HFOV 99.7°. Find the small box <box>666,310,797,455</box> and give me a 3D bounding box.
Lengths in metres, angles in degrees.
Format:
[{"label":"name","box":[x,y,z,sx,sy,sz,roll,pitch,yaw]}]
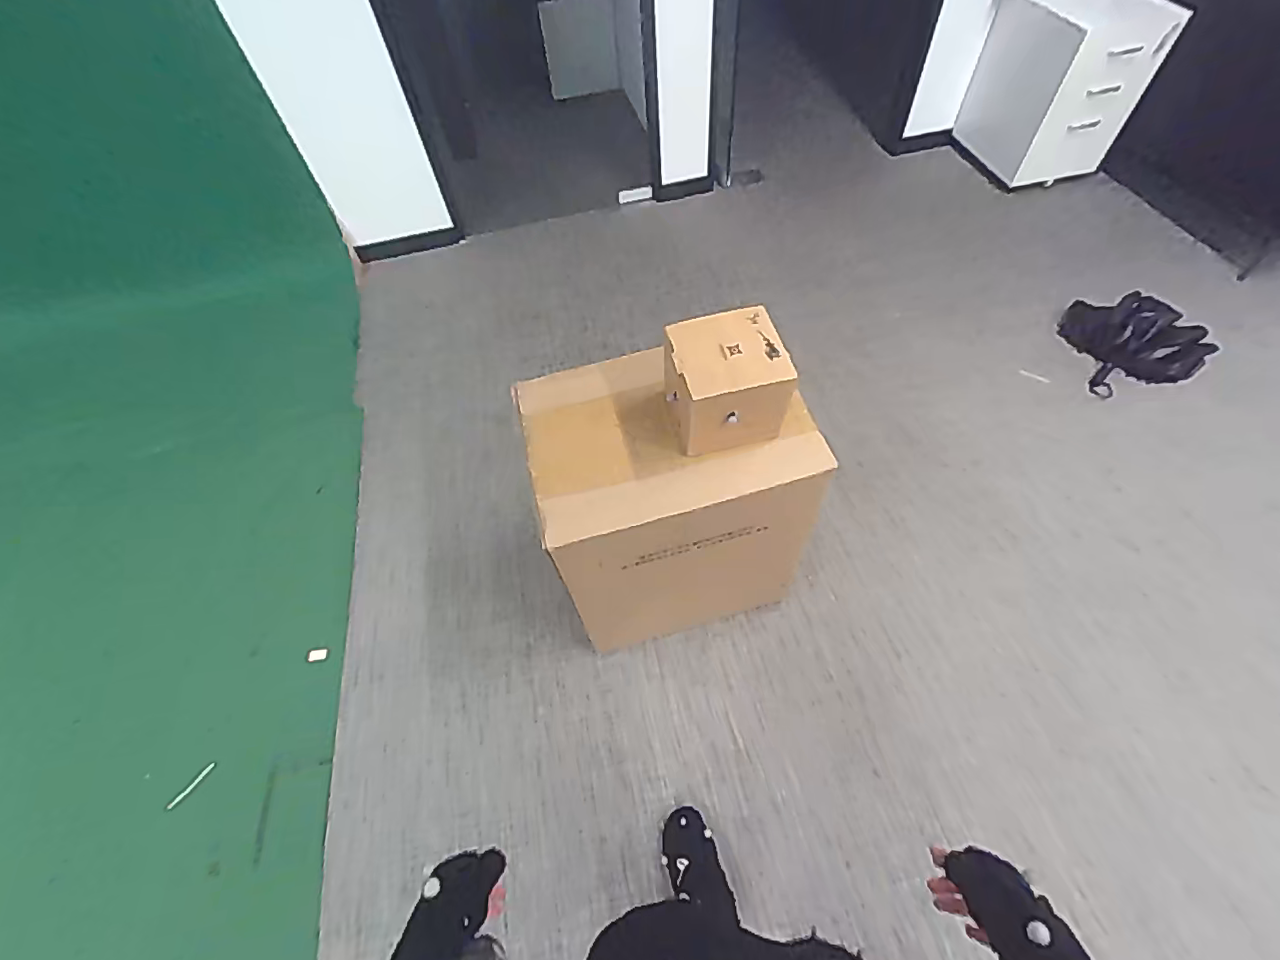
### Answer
[{"label":"small box","box":[0.151,-0.164,0.946,0.179,0.176,0.168,-13,62,-4]}]
